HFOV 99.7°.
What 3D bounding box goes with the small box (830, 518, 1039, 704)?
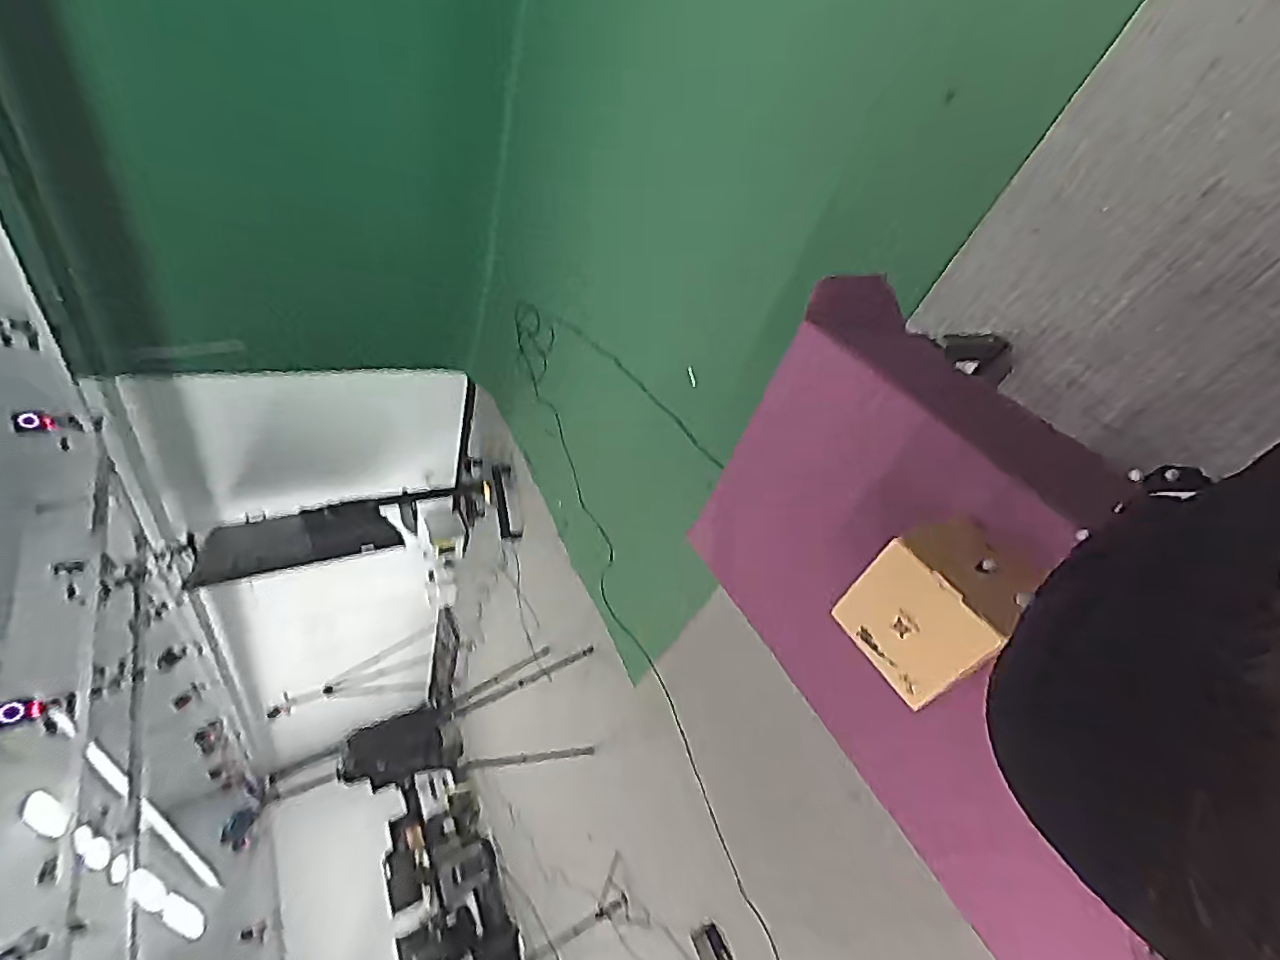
[{"bbox_3d":[0.415,0.174,0.763,0.168,0.176,0.179,54,138,34],"label":"small box"}]
